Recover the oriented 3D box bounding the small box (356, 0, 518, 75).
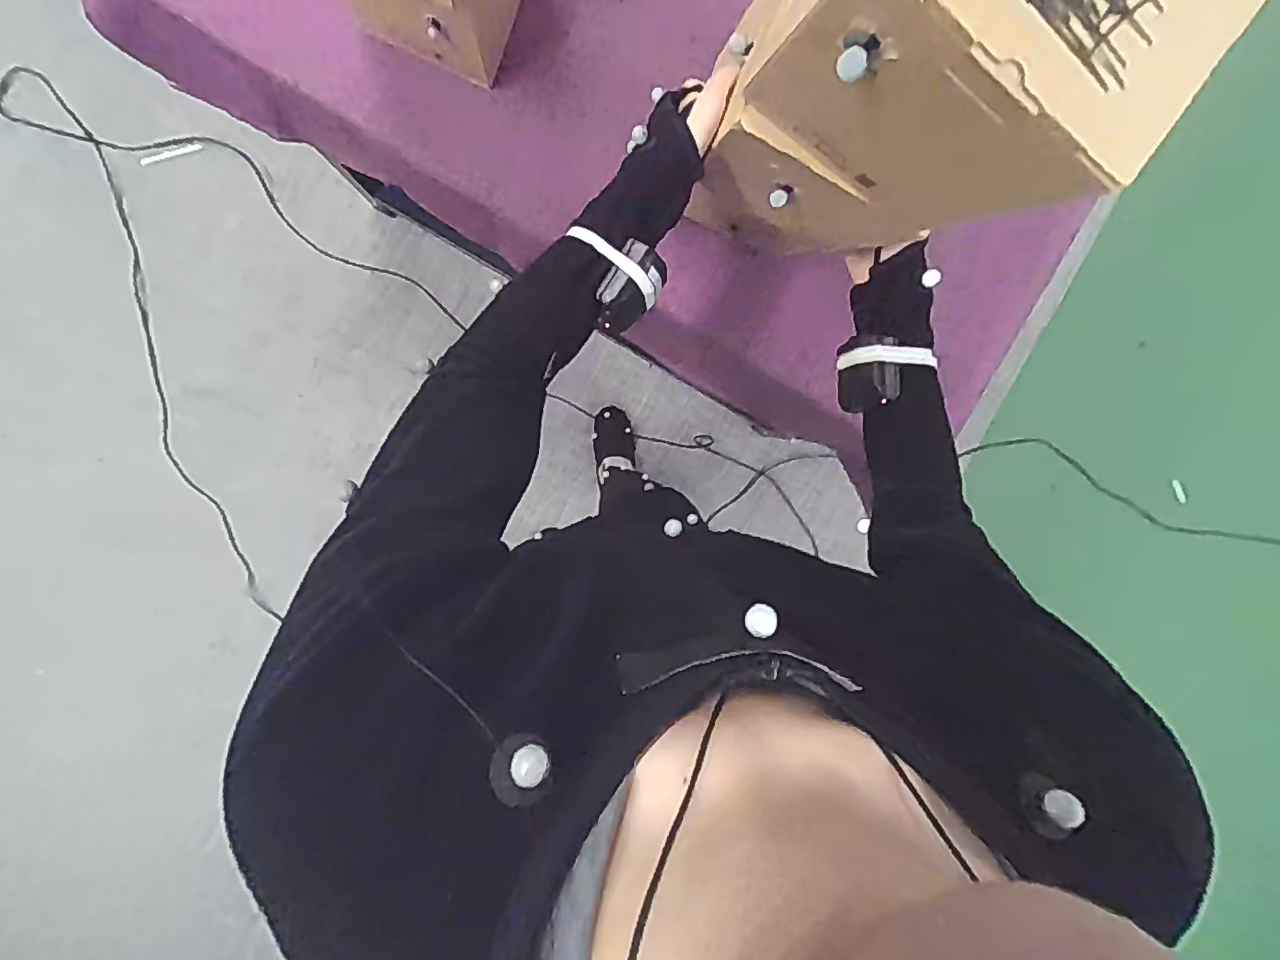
[{"bbox_3d":[-0.222,-0.590,0.575,0.168,0.176,0.179,22,94,-9],"label":"small box"}]

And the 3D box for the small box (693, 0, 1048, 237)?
[{"bbox_3d":[0.163,-0.321,0.449,0.179,0.176,0.168,22,105,-14],"label":"small box"}]

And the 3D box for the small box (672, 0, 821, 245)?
[{"bbox_3d":[0.147,-0.383,0.600,0.168,0.176,0.179,19,105,-13],"label":"small box"}]
